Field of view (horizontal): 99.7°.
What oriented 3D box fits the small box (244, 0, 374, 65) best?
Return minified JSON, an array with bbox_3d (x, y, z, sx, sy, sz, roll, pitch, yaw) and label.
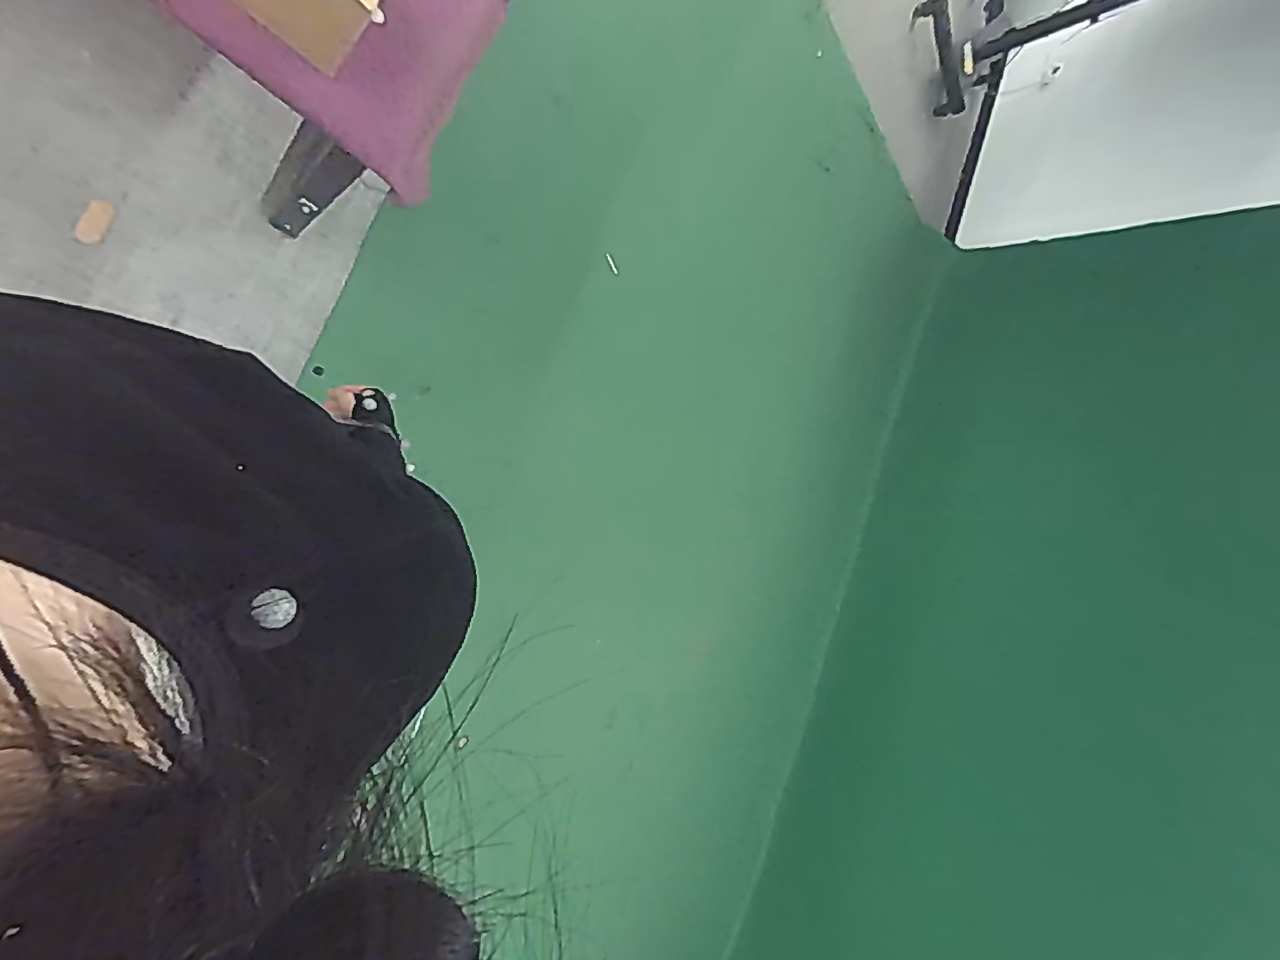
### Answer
[{"bbox_3d":[-0.353,-0.586,0.552,0.179,0.176,0.168,27,80,-43],"label":"small box"}]
